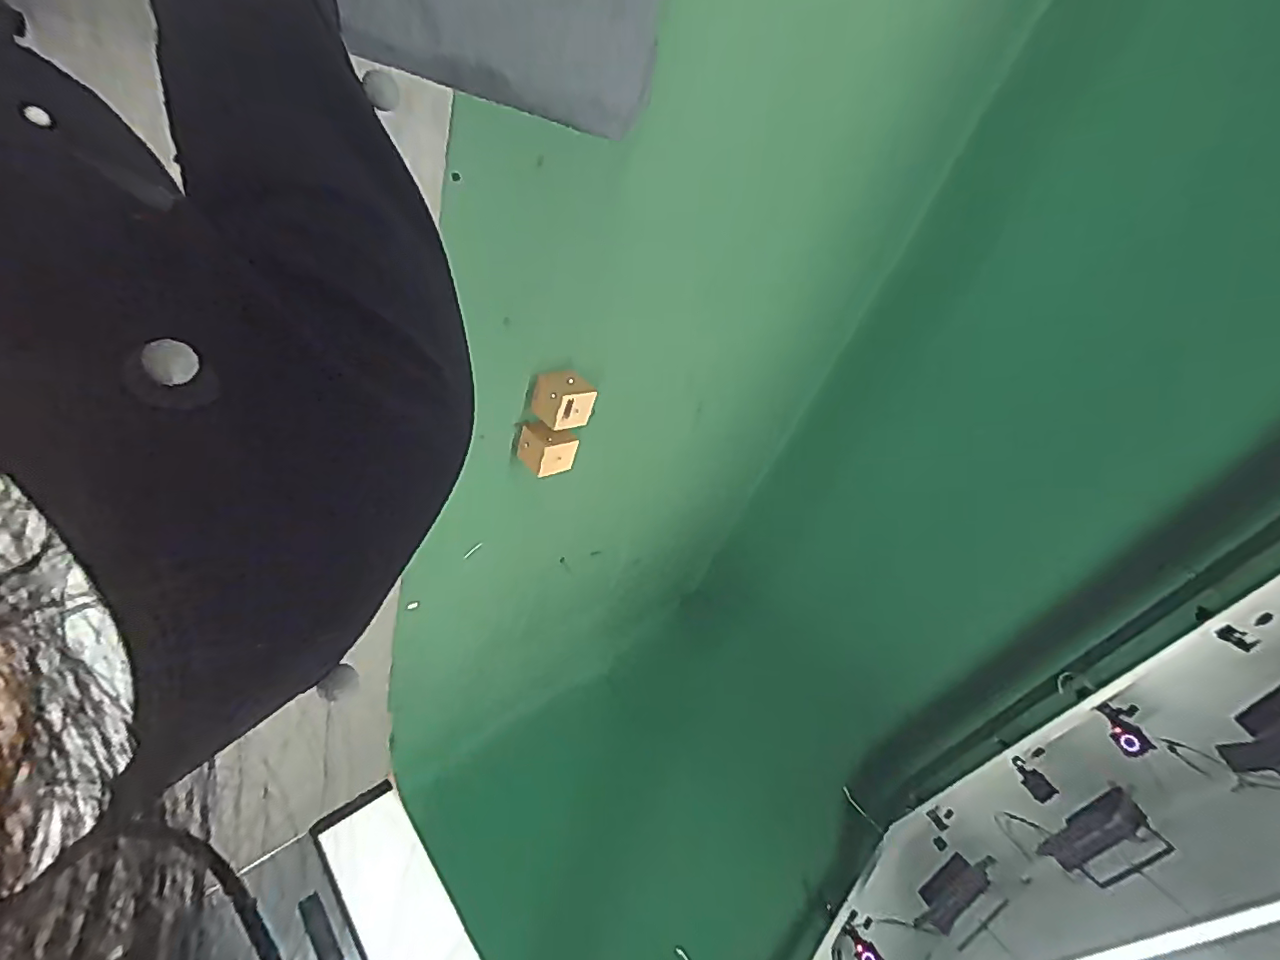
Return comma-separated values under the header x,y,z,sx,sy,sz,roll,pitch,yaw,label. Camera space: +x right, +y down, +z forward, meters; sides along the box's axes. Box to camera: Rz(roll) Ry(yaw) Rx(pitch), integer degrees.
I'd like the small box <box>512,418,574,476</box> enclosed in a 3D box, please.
x,y,z,sx,sy,sz,roll,pitch,yaw,label
-0.417,-0.148,2.298,0.179,0.176,0.168,-18,143,-42,small box
